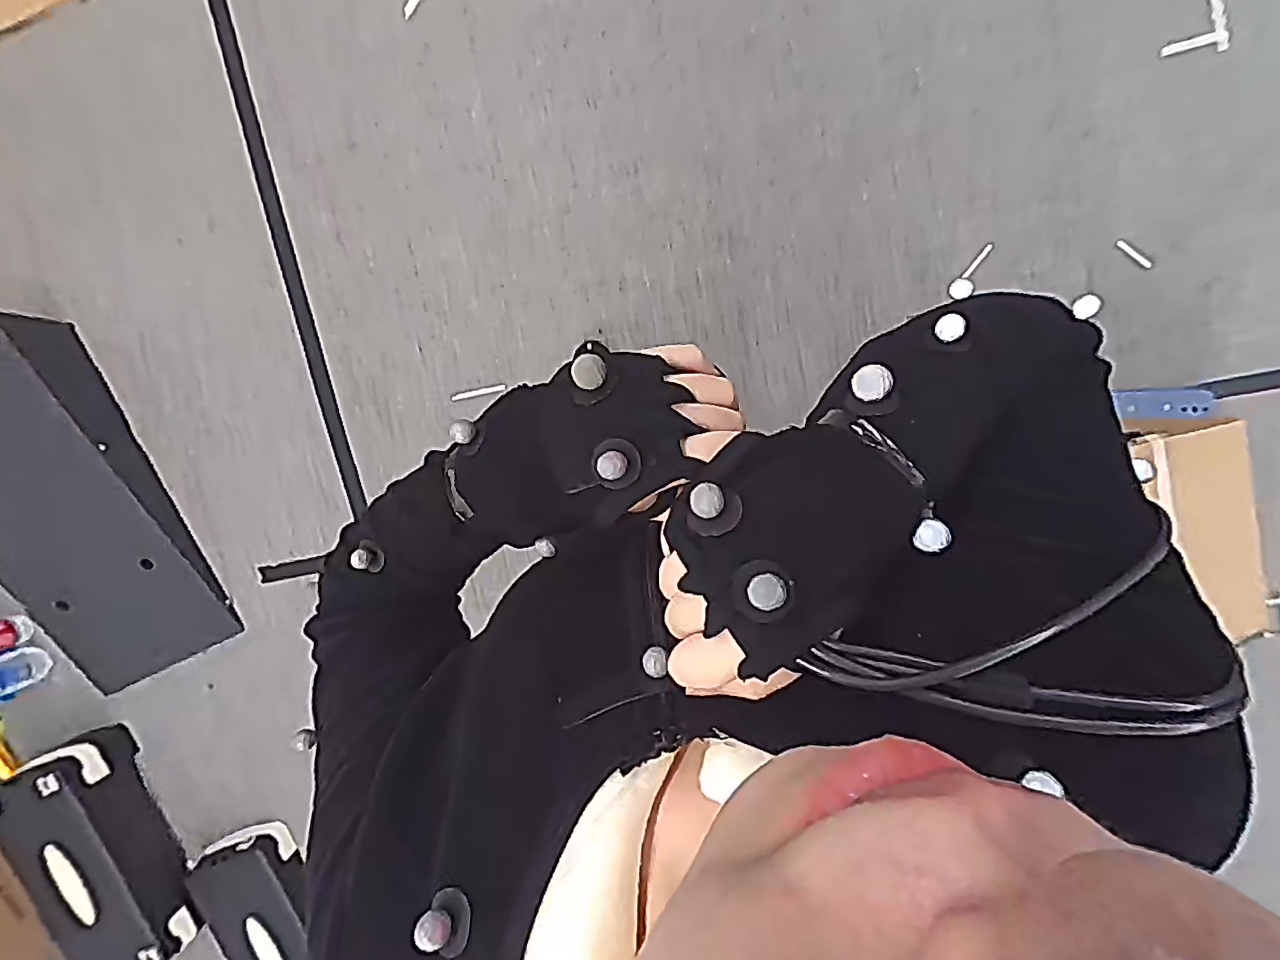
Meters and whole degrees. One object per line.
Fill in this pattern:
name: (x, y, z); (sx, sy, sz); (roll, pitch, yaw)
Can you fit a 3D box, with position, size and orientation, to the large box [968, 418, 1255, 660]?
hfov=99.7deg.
large box: (0.960, 0.100, 1.144); (0.320, 0.320, 0.408); (-13, 97, 4)
